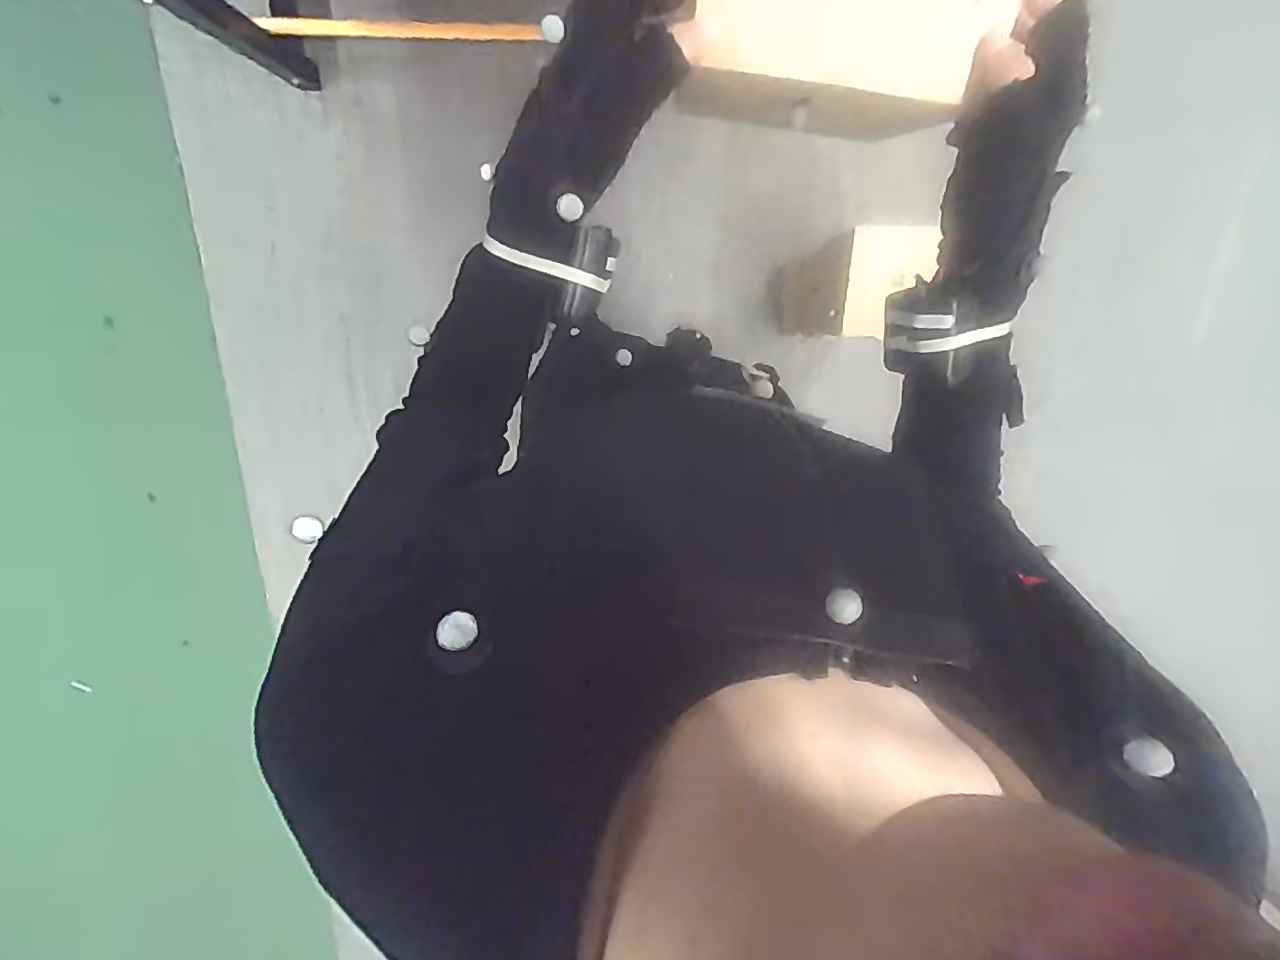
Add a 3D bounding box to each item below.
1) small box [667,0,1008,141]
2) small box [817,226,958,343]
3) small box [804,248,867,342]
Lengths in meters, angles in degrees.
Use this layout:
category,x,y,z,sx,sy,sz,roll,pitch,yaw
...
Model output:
category,x,y,z,sx,sy,sz,roll,pitch,yaw
small box,0.114,-0.325,0.340,0.179,0.176,0.168,7,117,-3
small box,0.421,-0.338,0.953,0.168,0.176,0.179,2,108,2
small box,0.440,-0.379,1.110,0.168,0.176,0.179,0,106,2
